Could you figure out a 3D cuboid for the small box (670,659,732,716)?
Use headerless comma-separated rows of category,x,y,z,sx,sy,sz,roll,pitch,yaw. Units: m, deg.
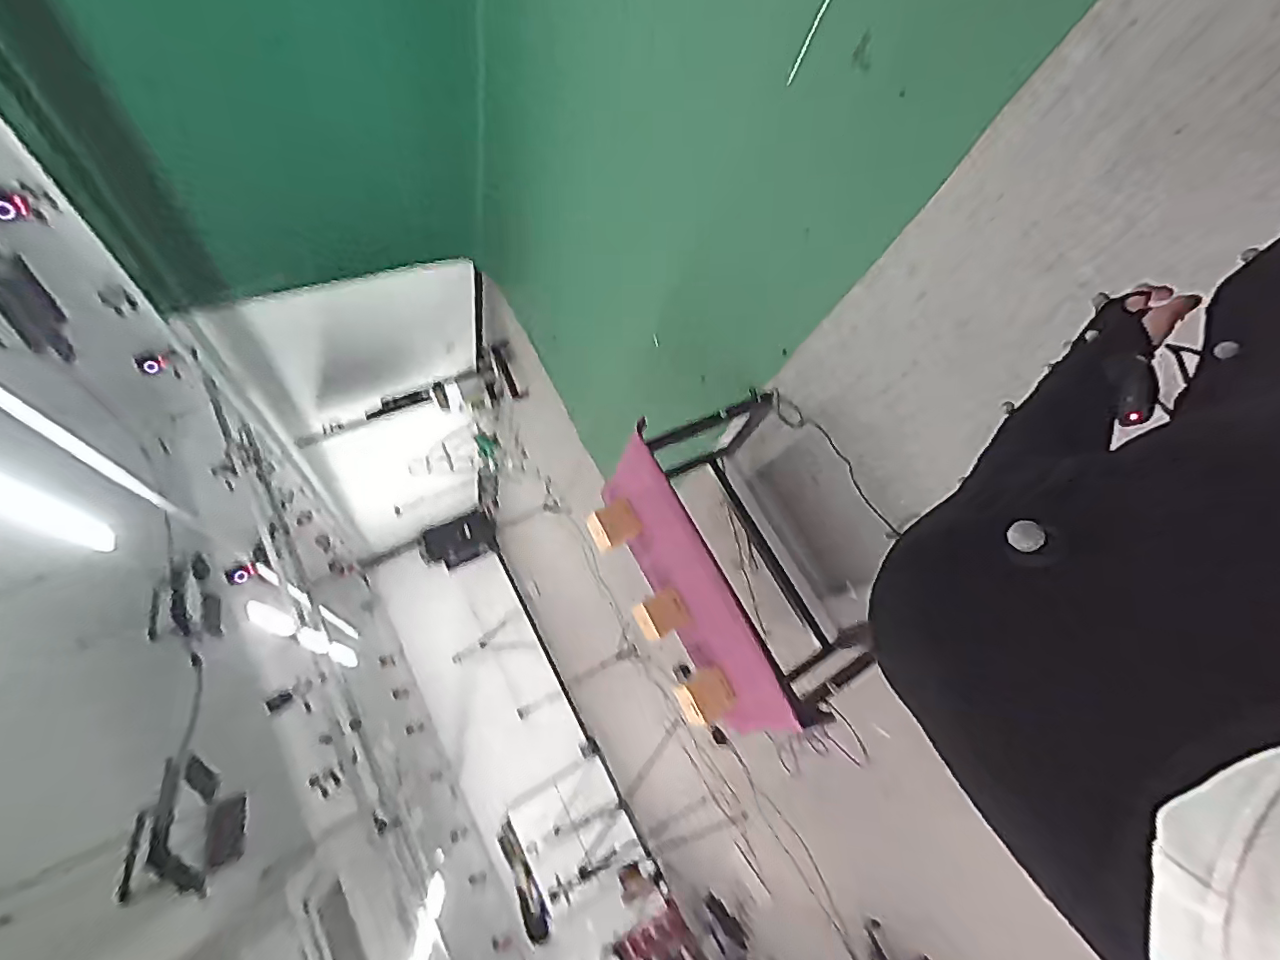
small box,0.261,0.868,2.274,0.168,0.176,0.179,60,154,11

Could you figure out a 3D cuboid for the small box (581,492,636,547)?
small box,-0.141,0.178,2.432,0.168,0.176,0.179,59,155,10

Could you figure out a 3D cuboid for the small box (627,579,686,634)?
small box,0.074,0.551,2.360,0.168,0.176,0.179,60,154,9
